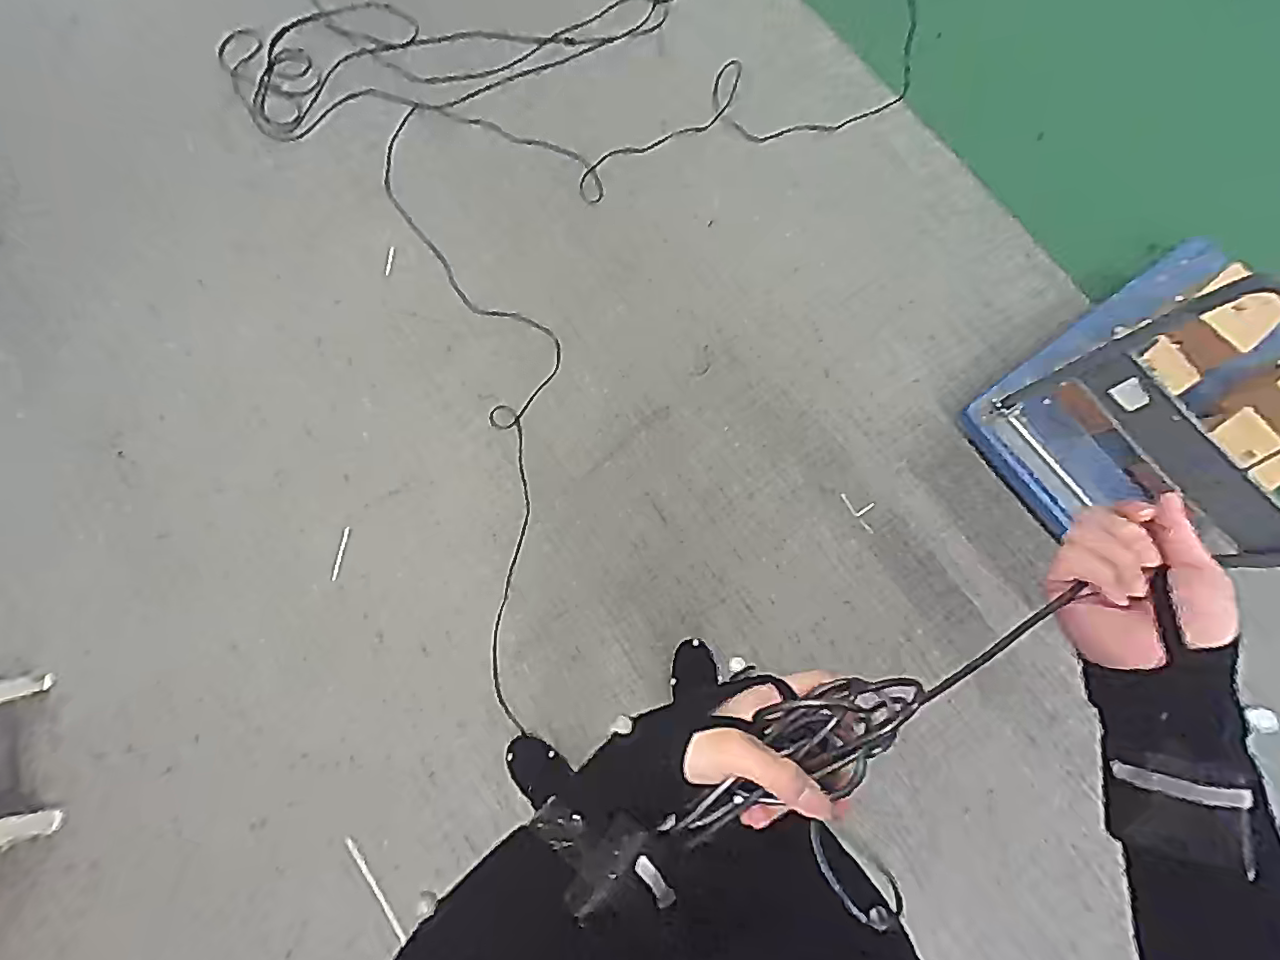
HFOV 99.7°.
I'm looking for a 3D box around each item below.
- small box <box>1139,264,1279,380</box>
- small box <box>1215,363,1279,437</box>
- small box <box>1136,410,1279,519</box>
[{"bbox_3d":[1.381,-0.372,1.311,0.179,0.176,0.168,-38,81,-7],"label":"small box"},{"bbox_3d":[1.539,-0.181,1.268,0.179,0.176,0.168,-38,80,-6],"label":"small box"},{"bbox_3d":[1.317,-0.030,1.240,0.179,0.176,0.168,-34,80,-5],"label":"small box"}]
